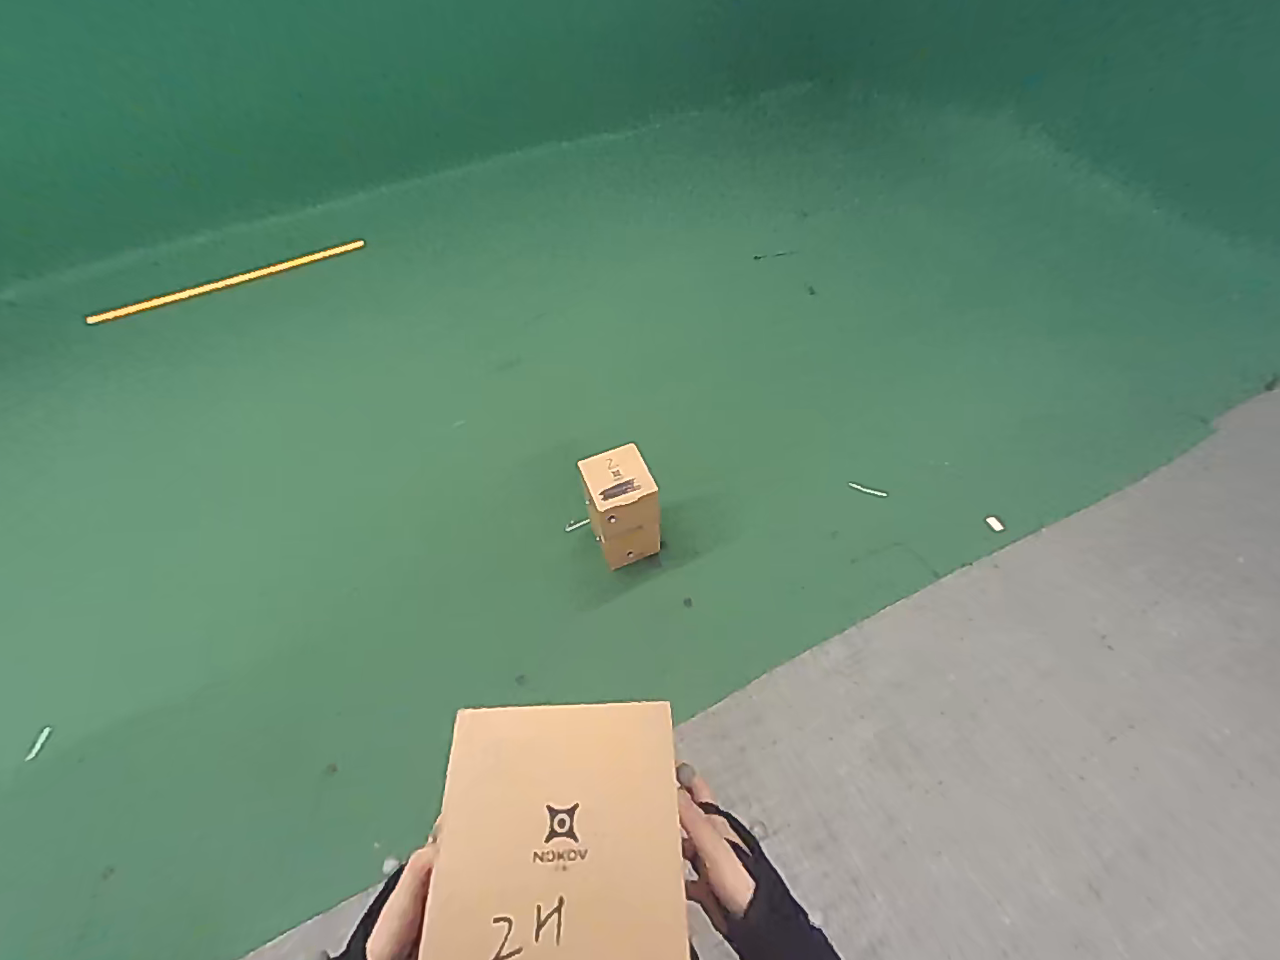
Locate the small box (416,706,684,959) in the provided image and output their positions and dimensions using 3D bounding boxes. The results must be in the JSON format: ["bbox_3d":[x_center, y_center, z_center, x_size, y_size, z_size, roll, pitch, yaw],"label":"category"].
[{"bbox_3d":[-0.060,0.298,0.430,0.168,0.176,0.179,-1,51,-3],"label":"small box"}]

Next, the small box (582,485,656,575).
[{"bbox_3d":[-0.062,0.151,1.607,0.168,0.176,0.179,-20,56,-11],"label":"small box"}]
